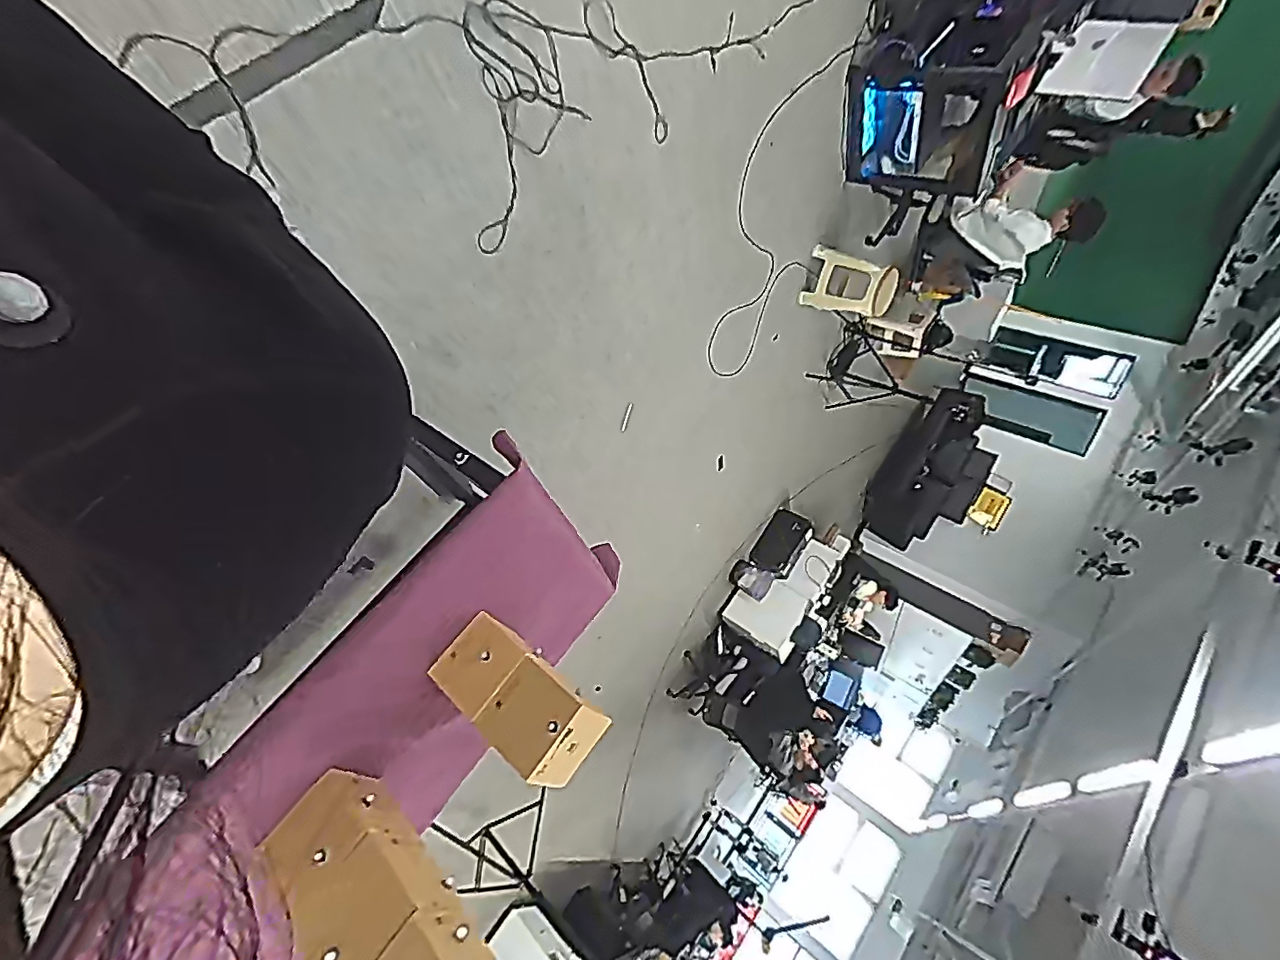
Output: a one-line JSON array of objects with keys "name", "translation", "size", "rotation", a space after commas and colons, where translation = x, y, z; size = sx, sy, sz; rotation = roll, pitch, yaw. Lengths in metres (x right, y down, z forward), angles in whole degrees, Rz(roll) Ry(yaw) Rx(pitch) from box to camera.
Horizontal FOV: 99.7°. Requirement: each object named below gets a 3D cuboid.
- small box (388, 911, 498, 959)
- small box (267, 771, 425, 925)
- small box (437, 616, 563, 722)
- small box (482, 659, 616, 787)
[{"name": "small box", "translation": [-0.325, 0.835, 0.855], "size": [0.179, 0.176, 0.168], "rotation": [-49, 146, -19]}, {"name": "small box", "translation": [-0.563, 0.697, 1.037], "size": [0.179, 0.176, 0.168], "rotation": [-48, 145, -19]}, {"name": "small box", "translation": [-0.307, 0.424, 1.188], "size": [0.168, 0.176, 0.179], "rotation": [-51, 147, -17]}, {"name": "small box", "translation": [-0.183, 0.494, 1.106], "size": [0.168, 0.176, 0.179], "rotation": [-52, 148, -16]}]
